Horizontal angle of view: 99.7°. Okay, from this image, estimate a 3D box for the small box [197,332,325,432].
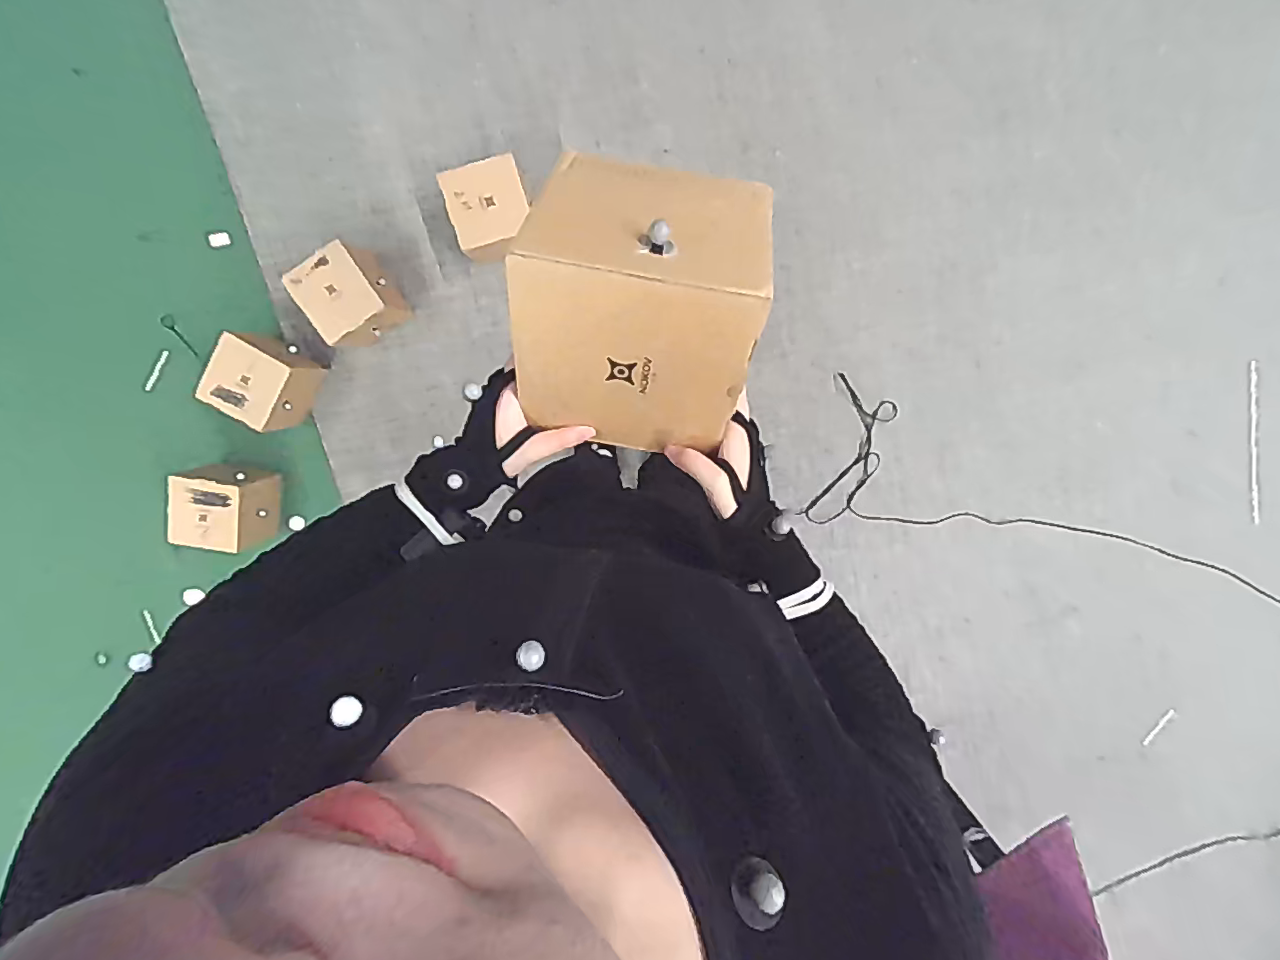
[{"bbox_3d":[-0.917,-0.240,1.326,0.168,0.176,0.179,31,98,-8],"label":"small box"}]

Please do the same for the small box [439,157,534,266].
[{"bbox_3d":[-0.340,-0.620,1.266,0.179,0.176,0.168,-16,101,1],"label":"small box"}]

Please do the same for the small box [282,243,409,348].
[{"bbox_3d":[-0.690,-0.433,1.294,0.168,0.176,0.179,-31,102,5],"label":"small box"}]

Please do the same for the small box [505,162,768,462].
[{"bbox_3d":[-0.001,-0.143,0.459,0.179,0.176,0.168,10,141,-1],"label":"small box"}]
